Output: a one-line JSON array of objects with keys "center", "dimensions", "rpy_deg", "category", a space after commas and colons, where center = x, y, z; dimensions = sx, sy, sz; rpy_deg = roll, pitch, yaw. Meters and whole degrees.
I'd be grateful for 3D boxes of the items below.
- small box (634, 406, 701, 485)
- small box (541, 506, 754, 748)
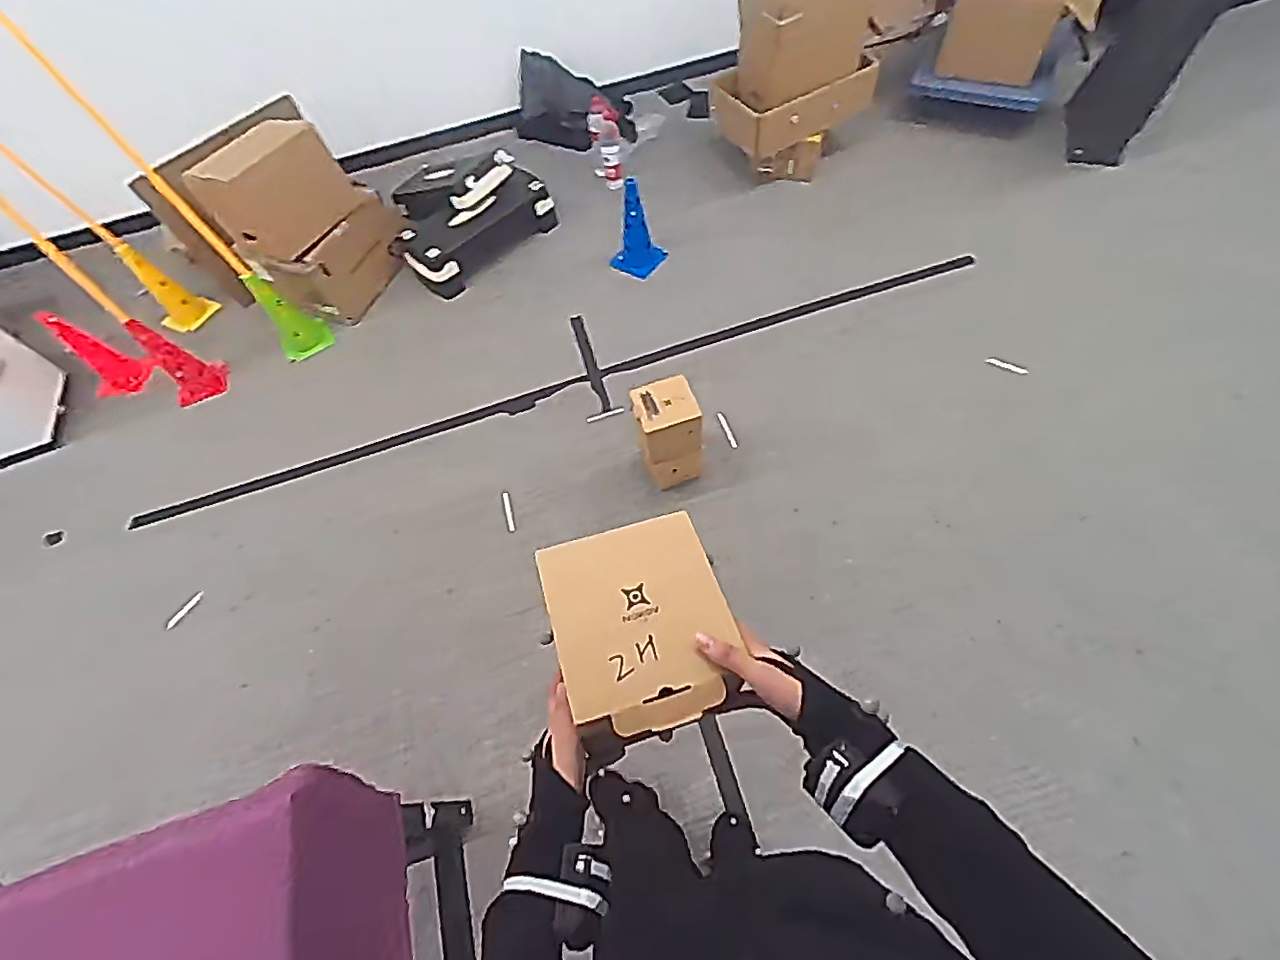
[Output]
[{"center": [0.094, -0.105, 1.772], "dimensions": [0.168, 0.176, 0.179], "rpy_deg": [-22, 60, -6], "category": "small box"}, {"center": [0.000, 0.158, 0.573], "dimensions": [0.168, 0.176, 0.179], "rpy_deg": [-14, 56, -9], "category": "small box"}]
